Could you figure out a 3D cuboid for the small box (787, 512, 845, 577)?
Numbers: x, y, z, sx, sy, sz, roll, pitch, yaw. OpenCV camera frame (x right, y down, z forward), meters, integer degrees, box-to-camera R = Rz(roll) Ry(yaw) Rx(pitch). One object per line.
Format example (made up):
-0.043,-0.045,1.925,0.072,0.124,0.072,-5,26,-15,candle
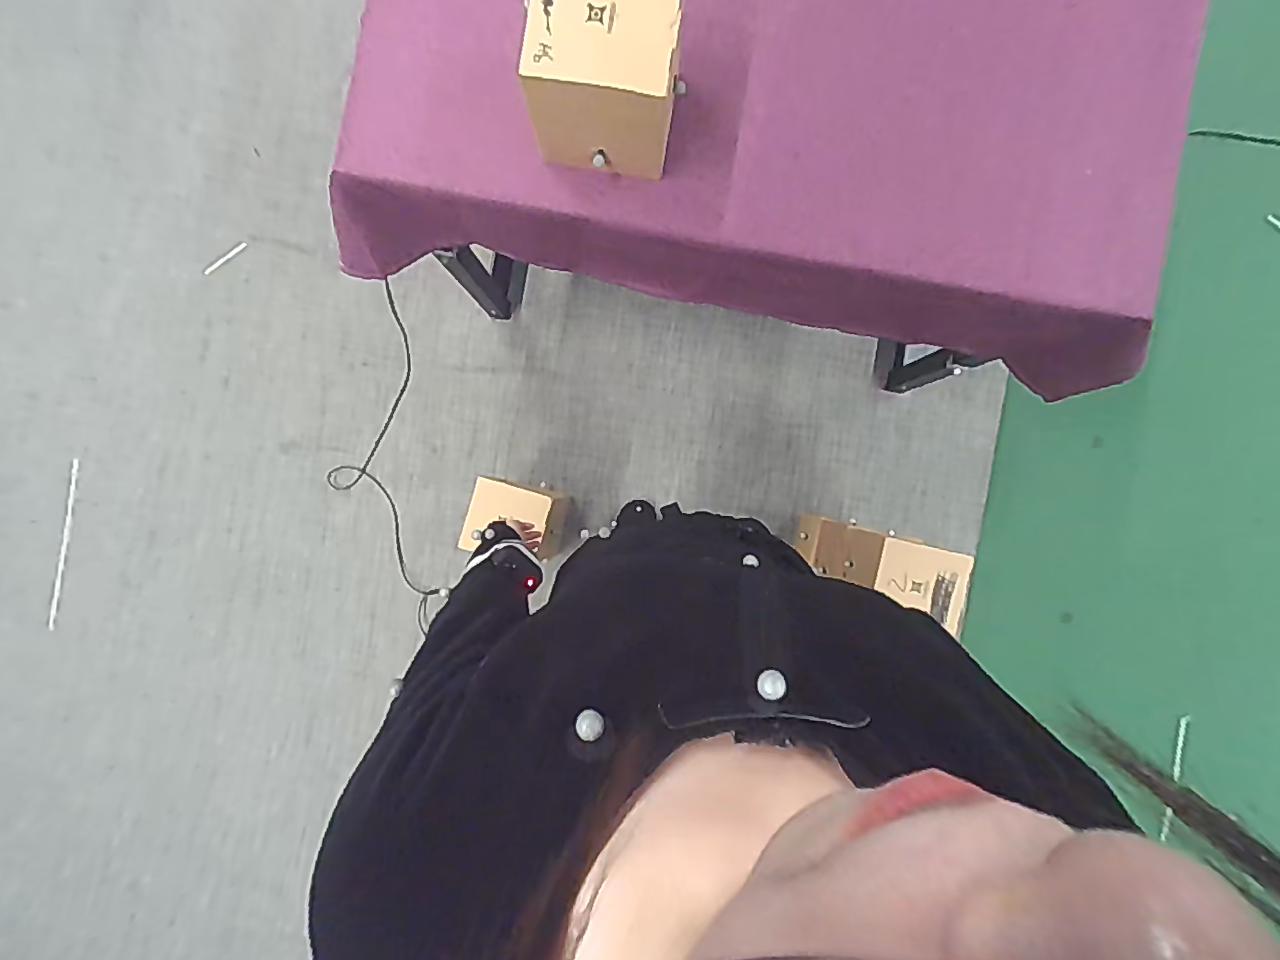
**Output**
0.509,0.183,1.433,0.179,0.176,0.168,14,90,-1,small box

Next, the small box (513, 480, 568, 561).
-0.294,0.102,1.428,0.168,0.176,0.179,13,89,-1,small box

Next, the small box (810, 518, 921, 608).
0.519,0.186,1.271,0.179,0.176,0.168,12,91,-1,small box

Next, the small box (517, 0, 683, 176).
-0.047,-0.528,0.703,0.179,0.176,0.168,9,89,-1,small box

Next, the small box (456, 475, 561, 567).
-0.298,0.092,1.264,0.179,0.176,0.168,17,90,-1,small box
